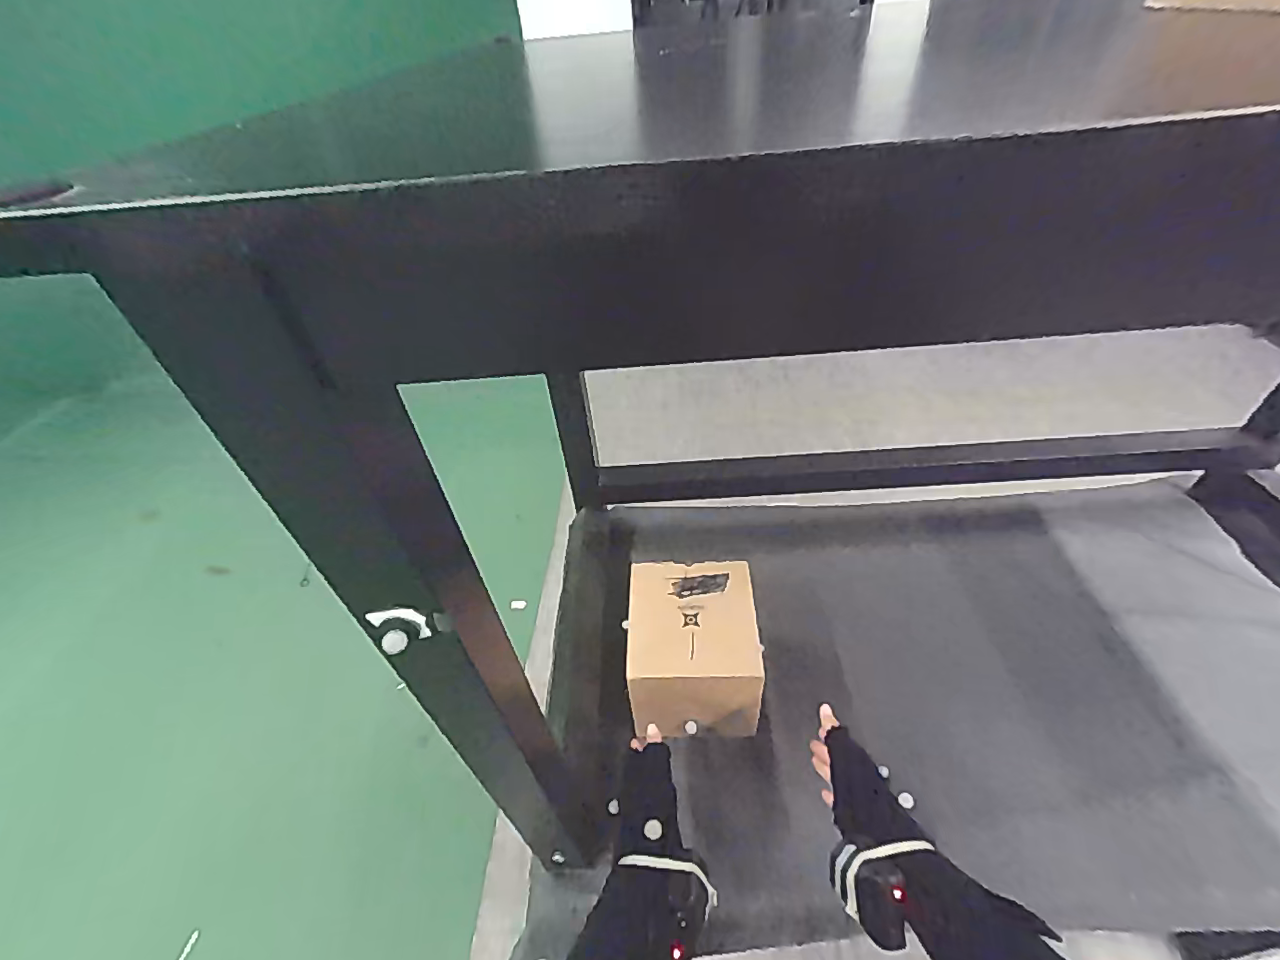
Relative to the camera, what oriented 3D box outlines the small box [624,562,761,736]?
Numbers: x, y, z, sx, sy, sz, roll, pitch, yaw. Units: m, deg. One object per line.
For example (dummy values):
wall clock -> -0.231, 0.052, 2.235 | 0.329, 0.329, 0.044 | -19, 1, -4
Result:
small box -> 0.070, 0.235, 0.756 | 0.168, 0.176, 0.179 | -2, 42, 4
